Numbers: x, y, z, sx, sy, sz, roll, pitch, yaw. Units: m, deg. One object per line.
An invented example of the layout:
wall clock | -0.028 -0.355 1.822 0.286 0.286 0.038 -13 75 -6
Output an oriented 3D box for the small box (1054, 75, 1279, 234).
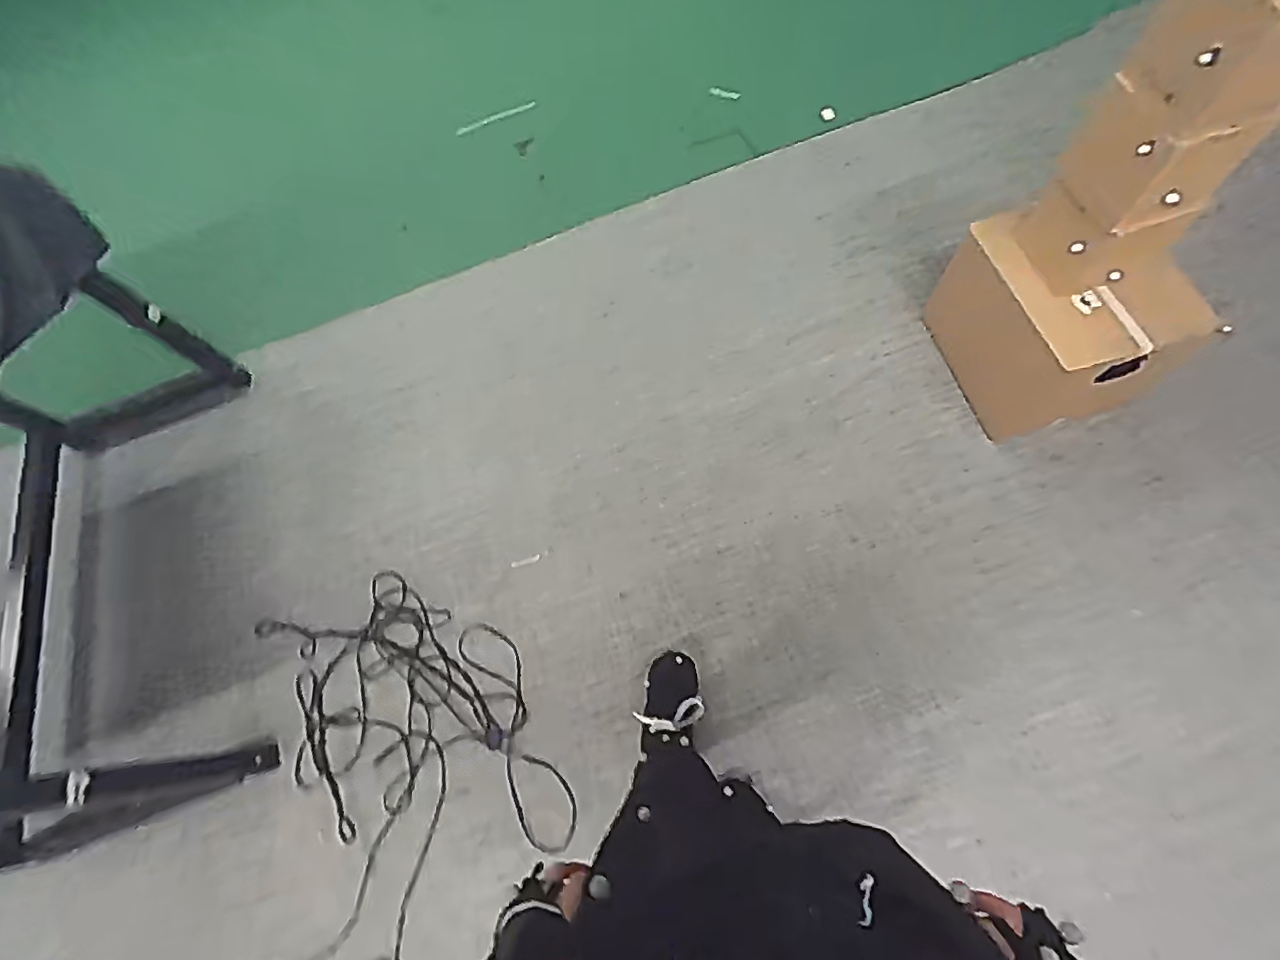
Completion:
small box | 0.846 -0.549 0.895 0.168 0.176 0.179 -18 68 0

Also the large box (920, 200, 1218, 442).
large box | 0.930 -0.358 1.248 0.320 0.320 0.408 -17 68 2

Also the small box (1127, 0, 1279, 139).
small box | 0.836 -0.612 0.745 0.179 0.176 0.168 -15 69 1
